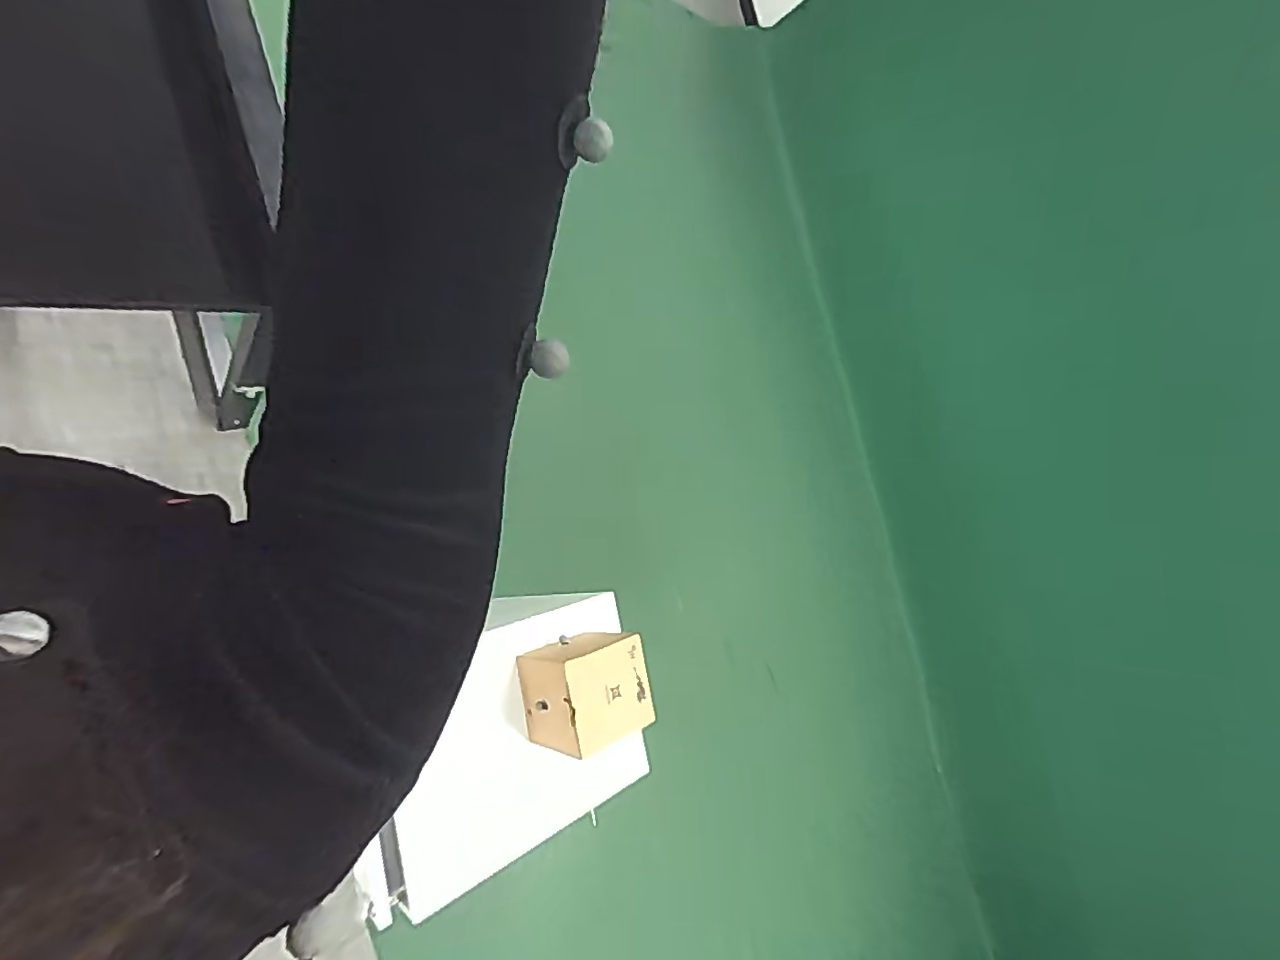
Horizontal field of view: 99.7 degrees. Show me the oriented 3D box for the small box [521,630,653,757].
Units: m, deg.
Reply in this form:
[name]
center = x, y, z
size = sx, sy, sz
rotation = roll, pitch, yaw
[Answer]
[small box]
center = -0.106, 0.384, 1.007
size = 0.179, 0.176, 0.168
rotation = -8, 86, -42
